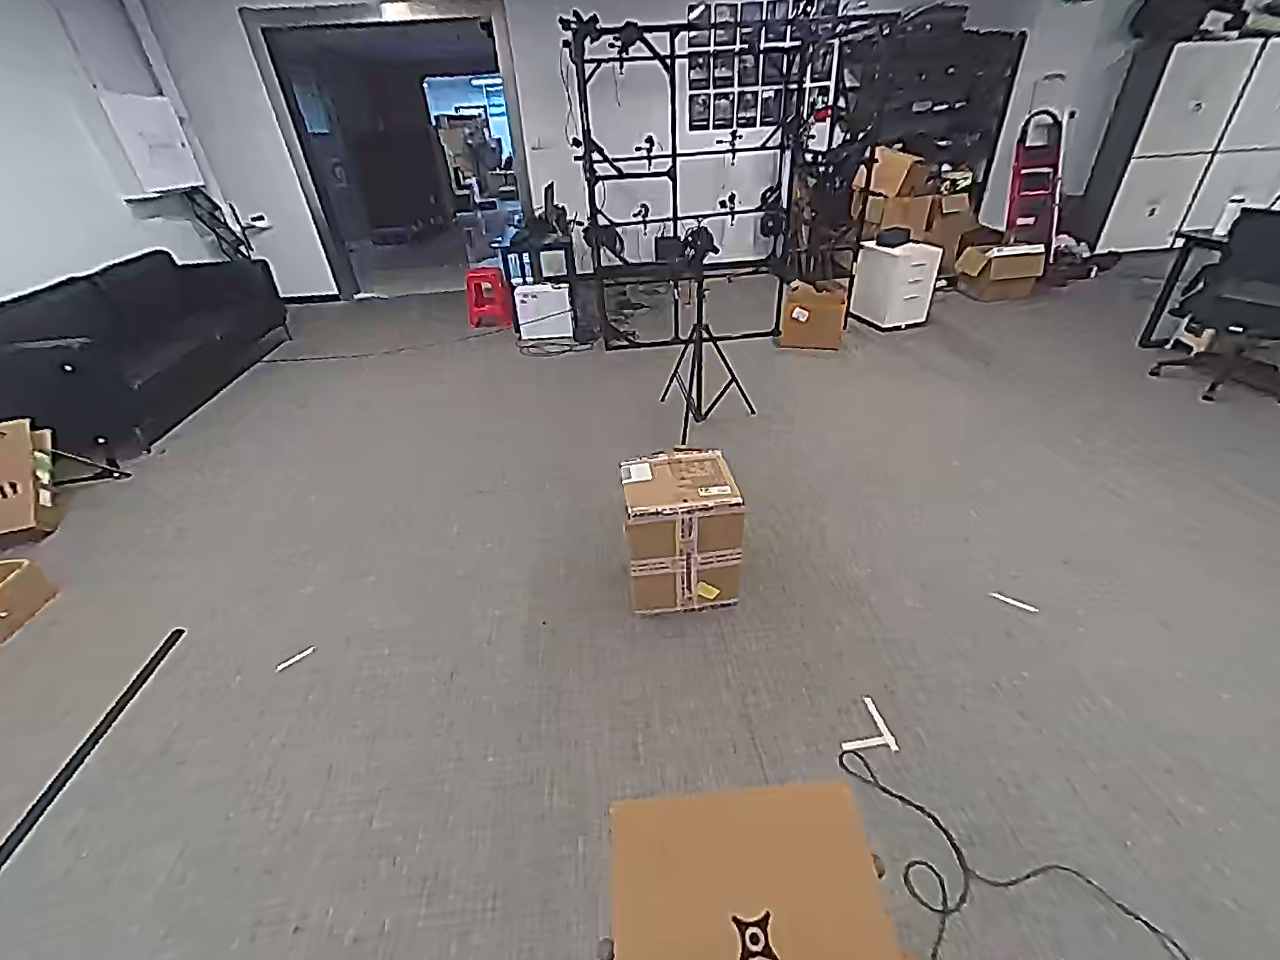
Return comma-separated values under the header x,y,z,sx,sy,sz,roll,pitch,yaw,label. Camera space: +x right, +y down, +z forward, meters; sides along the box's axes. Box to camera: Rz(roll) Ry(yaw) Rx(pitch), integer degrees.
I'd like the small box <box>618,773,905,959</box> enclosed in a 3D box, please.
x,y,z,sx,sy,sz,roll,pitch,yaw,label
0.074,0.325,0.372,0.168,0.176,0.179,-5,47,1,small box
